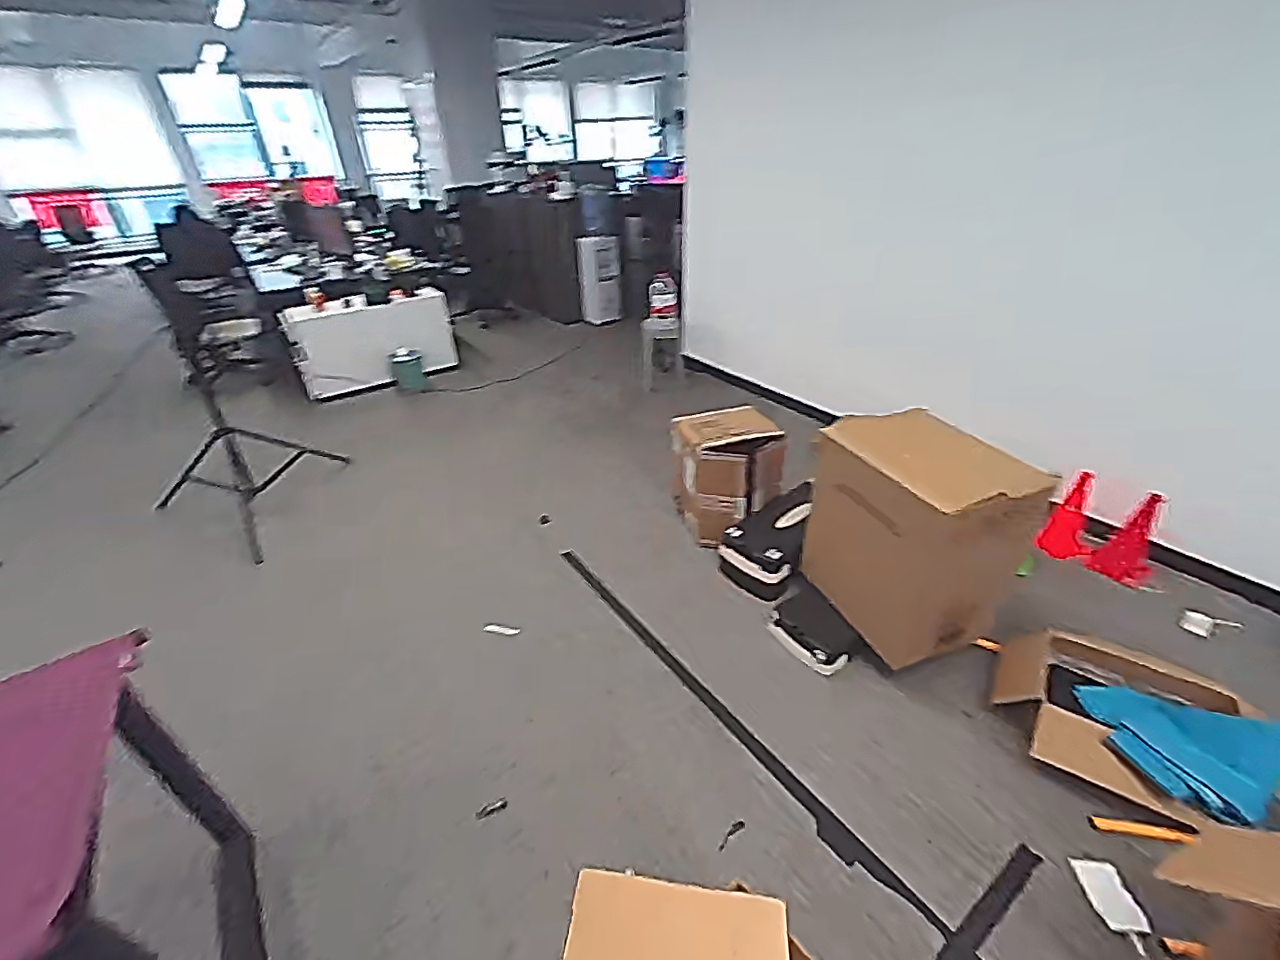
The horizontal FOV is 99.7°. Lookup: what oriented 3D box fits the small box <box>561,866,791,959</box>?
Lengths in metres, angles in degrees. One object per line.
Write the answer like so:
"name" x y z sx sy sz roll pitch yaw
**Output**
"small box" 0.027 0.445 0.432 0.179 0.176 0.168 1 35 9
